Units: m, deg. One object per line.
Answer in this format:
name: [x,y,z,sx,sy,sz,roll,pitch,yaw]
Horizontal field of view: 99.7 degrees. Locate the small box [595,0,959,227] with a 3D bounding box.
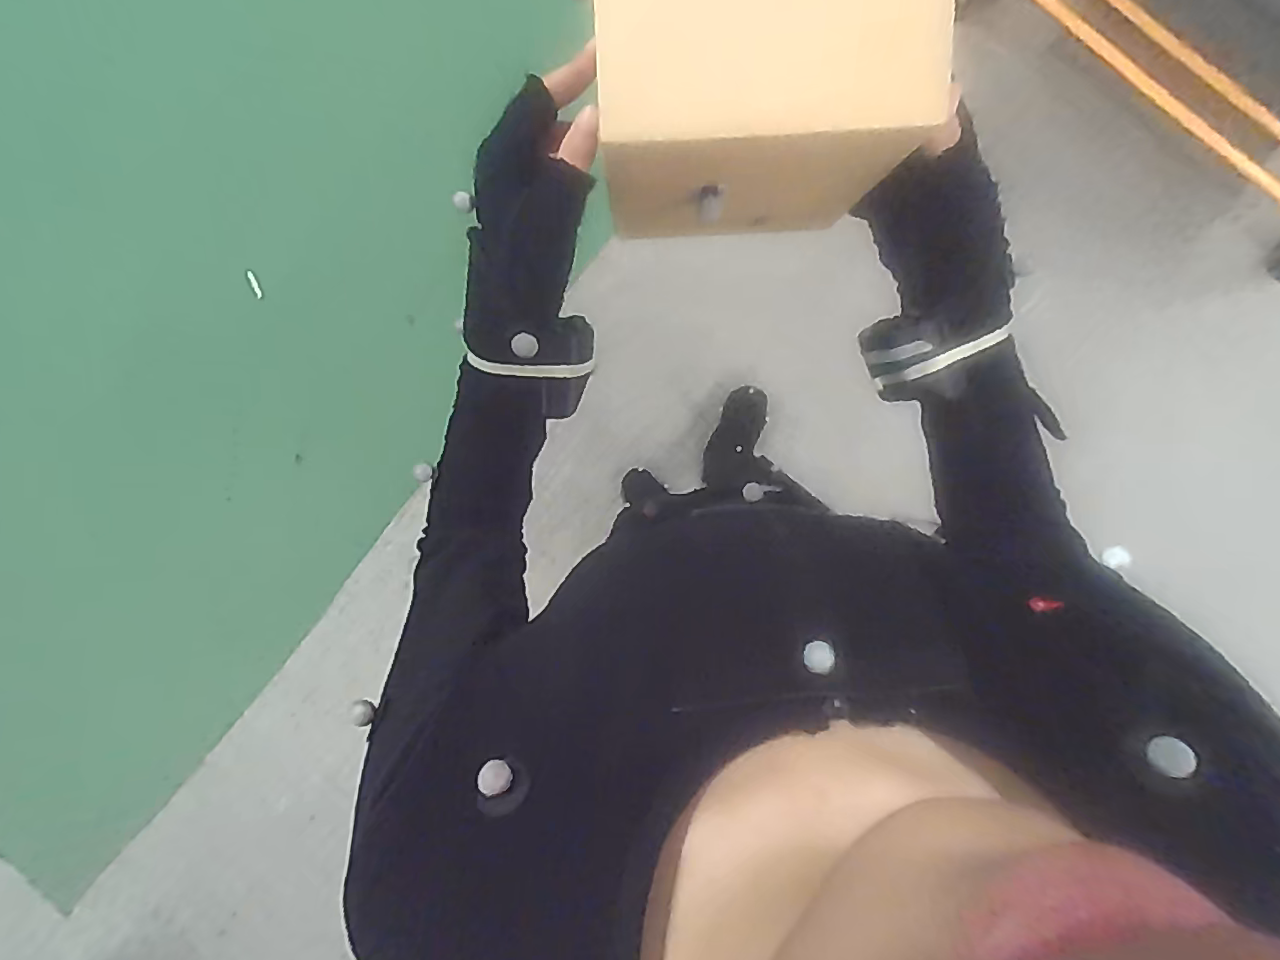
small box: [0.063,-0.261,0.319,0.168,0.176,0.179,-2,98,1]
